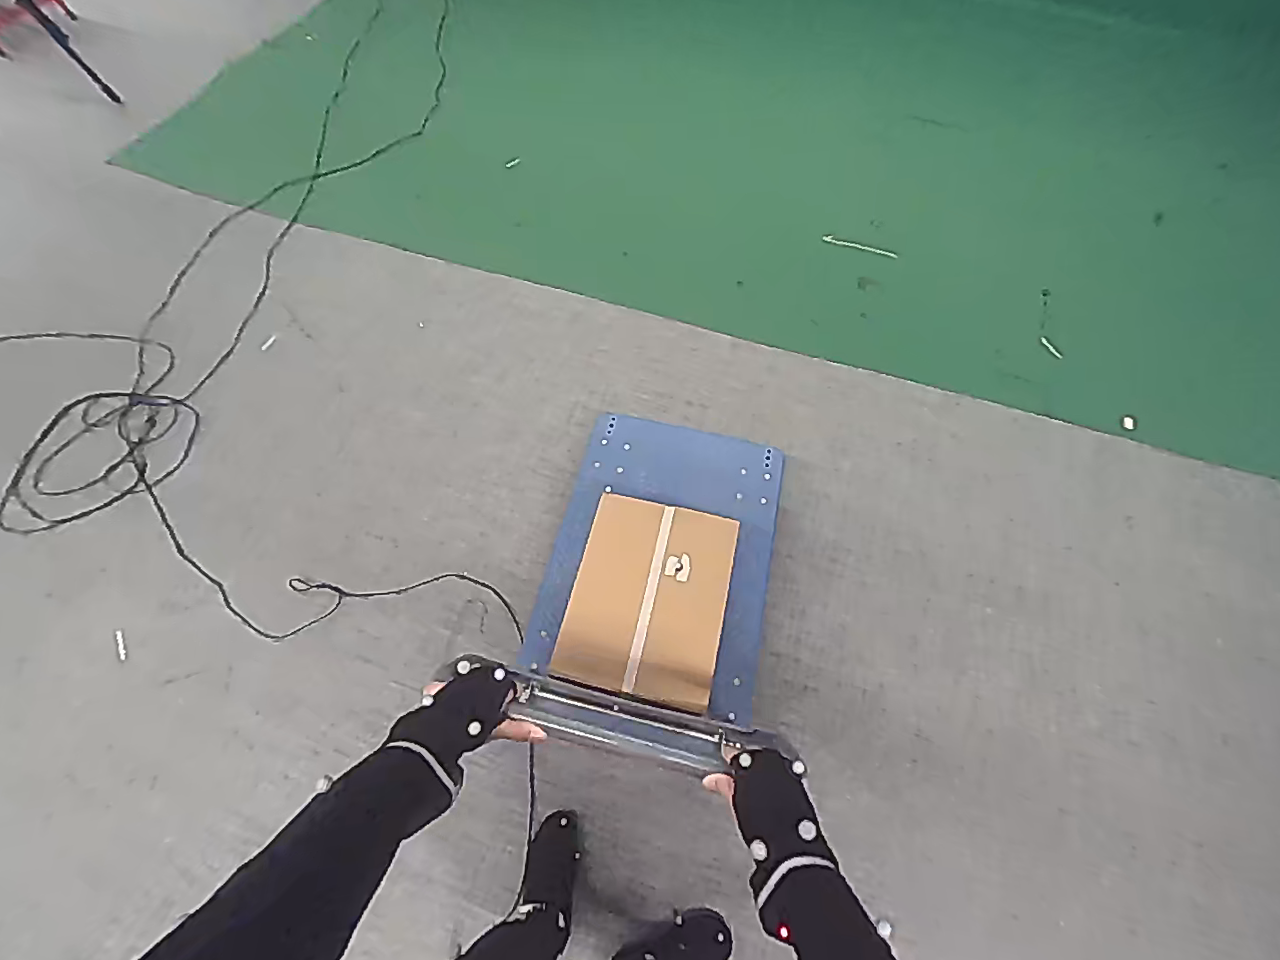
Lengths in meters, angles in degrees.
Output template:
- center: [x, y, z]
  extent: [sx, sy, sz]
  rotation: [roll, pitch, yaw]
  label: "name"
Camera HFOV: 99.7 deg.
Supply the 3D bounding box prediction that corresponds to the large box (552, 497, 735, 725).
- center: [0.020, 0.307, 1.239]
  extent: [0.320, 0.320, 0.408]
  rotation: [12, 63, 6]
  label: "large box"
